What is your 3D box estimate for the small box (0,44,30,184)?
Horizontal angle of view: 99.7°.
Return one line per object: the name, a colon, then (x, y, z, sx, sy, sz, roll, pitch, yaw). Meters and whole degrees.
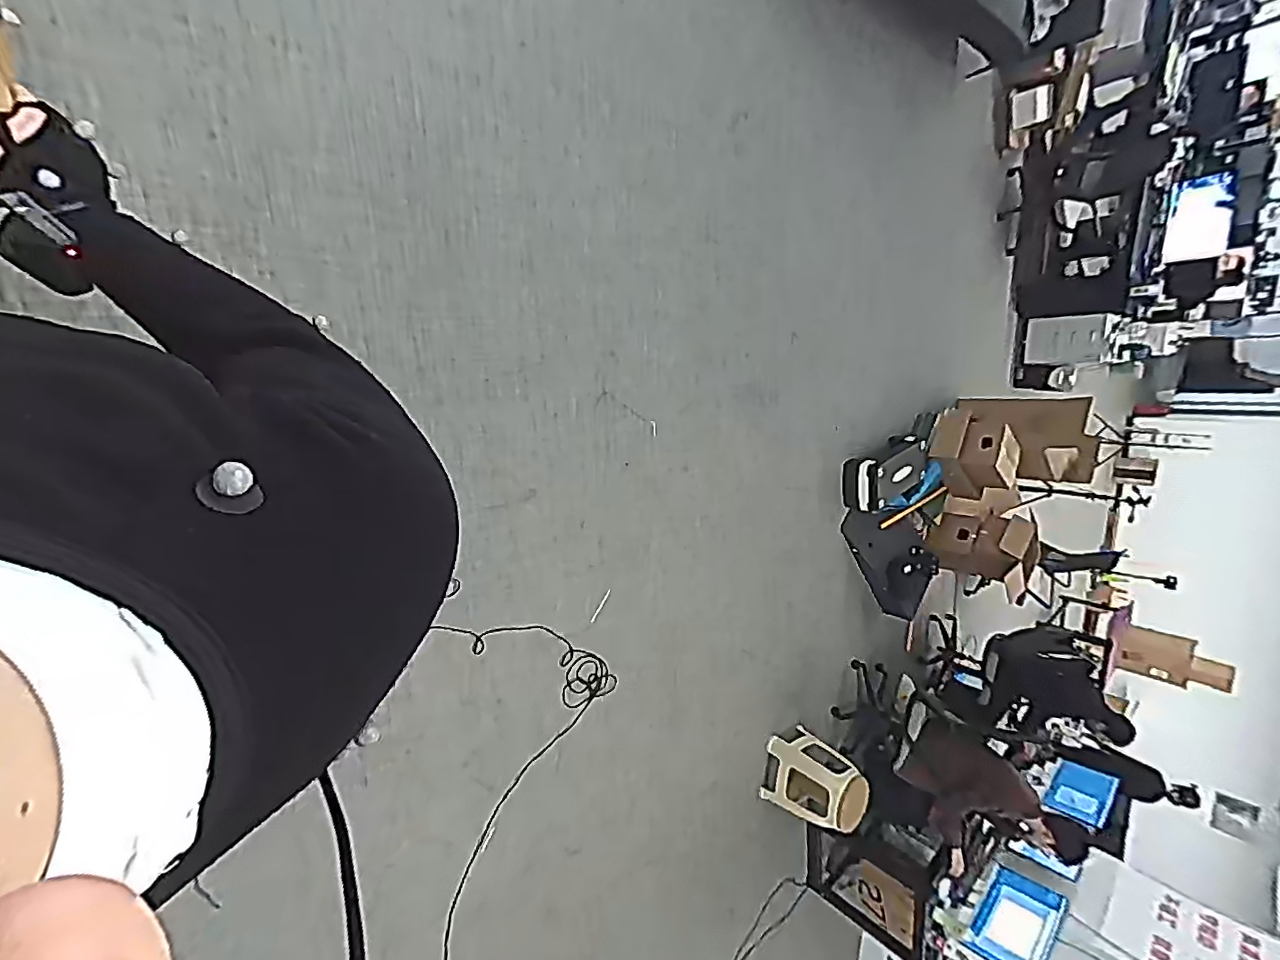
small box: (-0.651, -0.377, 0.439, 0.168, 0.176, 0.179, -13, 97, -38)
